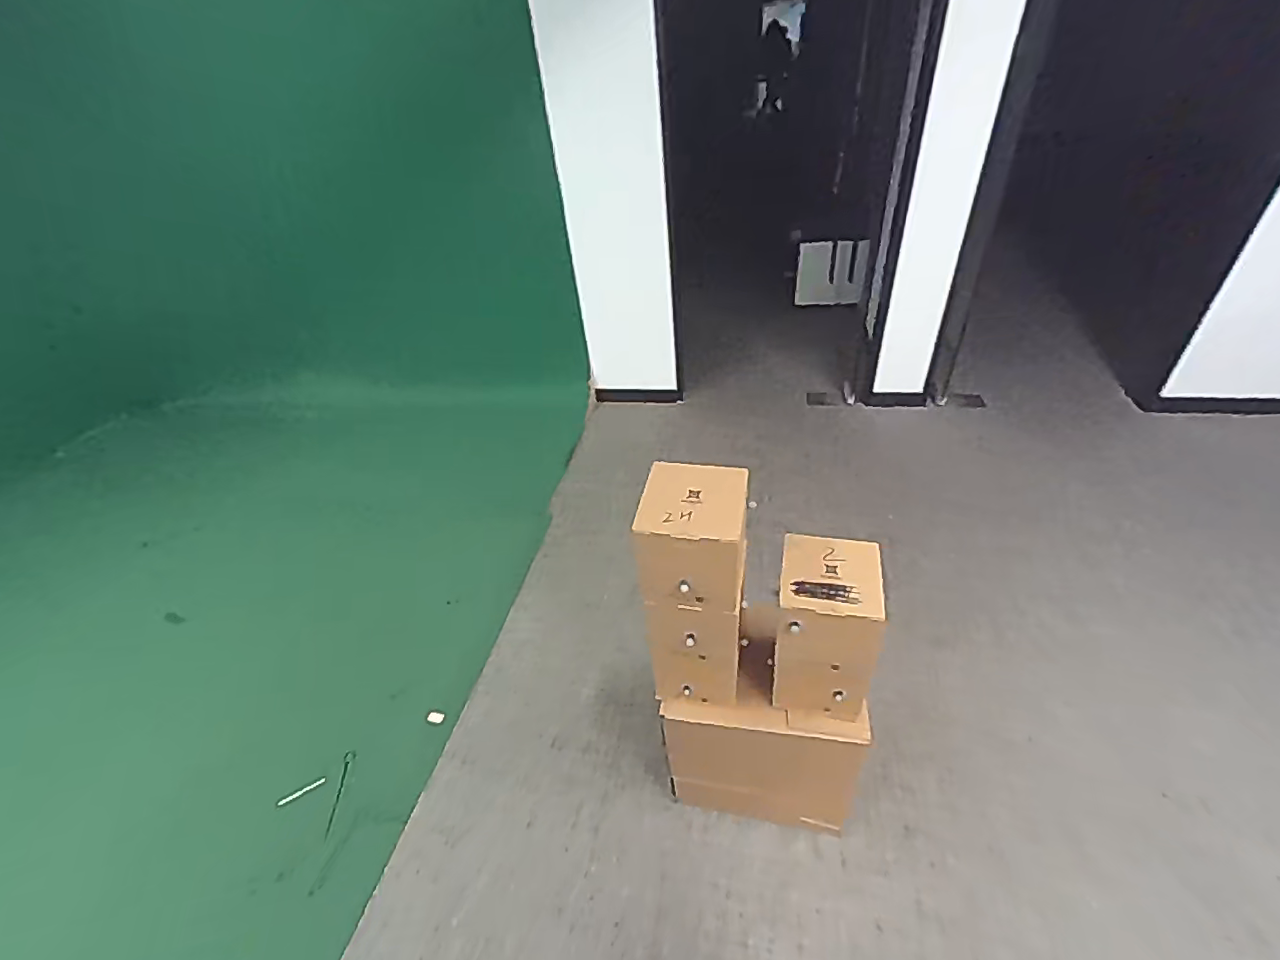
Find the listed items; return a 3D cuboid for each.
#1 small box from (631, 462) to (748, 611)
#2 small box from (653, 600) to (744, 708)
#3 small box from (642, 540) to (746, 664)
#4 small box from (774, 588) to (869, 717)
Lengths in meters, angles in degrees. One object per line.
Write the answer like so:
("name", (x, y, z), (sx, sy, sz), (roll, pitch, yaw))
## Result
("small box", (0.090, 0.092, 0.914), (0.168, 0.176, 0.179), (4, 41, 13))
("small box", (0.125, 0.343, 1.125), (0.168, 0.176, 0.179), (4, 42, 12))
("small box", (0.108, 0.221, 1.017), (0.168, 0.176, 0.179), (5, 42, 13))
("small box", (0.359, 0.345, 1.082), (0.168, 0.176, 0.179), (4, 40, 15))
